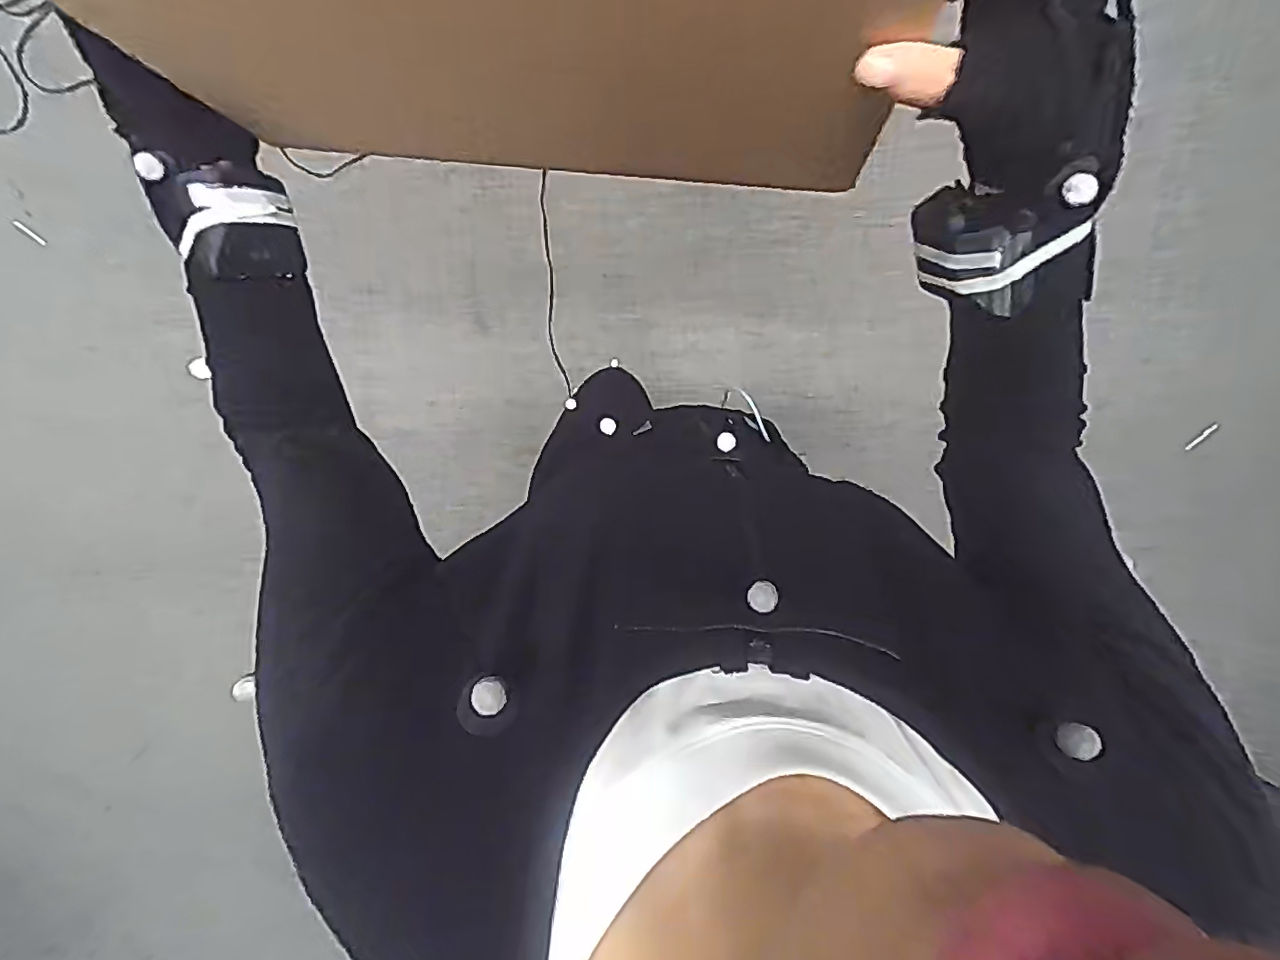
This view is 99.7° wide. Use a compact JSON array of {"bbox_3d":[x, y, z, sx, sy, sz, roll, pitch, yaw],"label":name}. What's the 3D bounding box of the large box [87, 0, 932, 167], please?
[{"bbox_3d":[-0.067,-0.354,0.198,0.408,0.320,0.320,9,96,8],"label":"large box"}]
